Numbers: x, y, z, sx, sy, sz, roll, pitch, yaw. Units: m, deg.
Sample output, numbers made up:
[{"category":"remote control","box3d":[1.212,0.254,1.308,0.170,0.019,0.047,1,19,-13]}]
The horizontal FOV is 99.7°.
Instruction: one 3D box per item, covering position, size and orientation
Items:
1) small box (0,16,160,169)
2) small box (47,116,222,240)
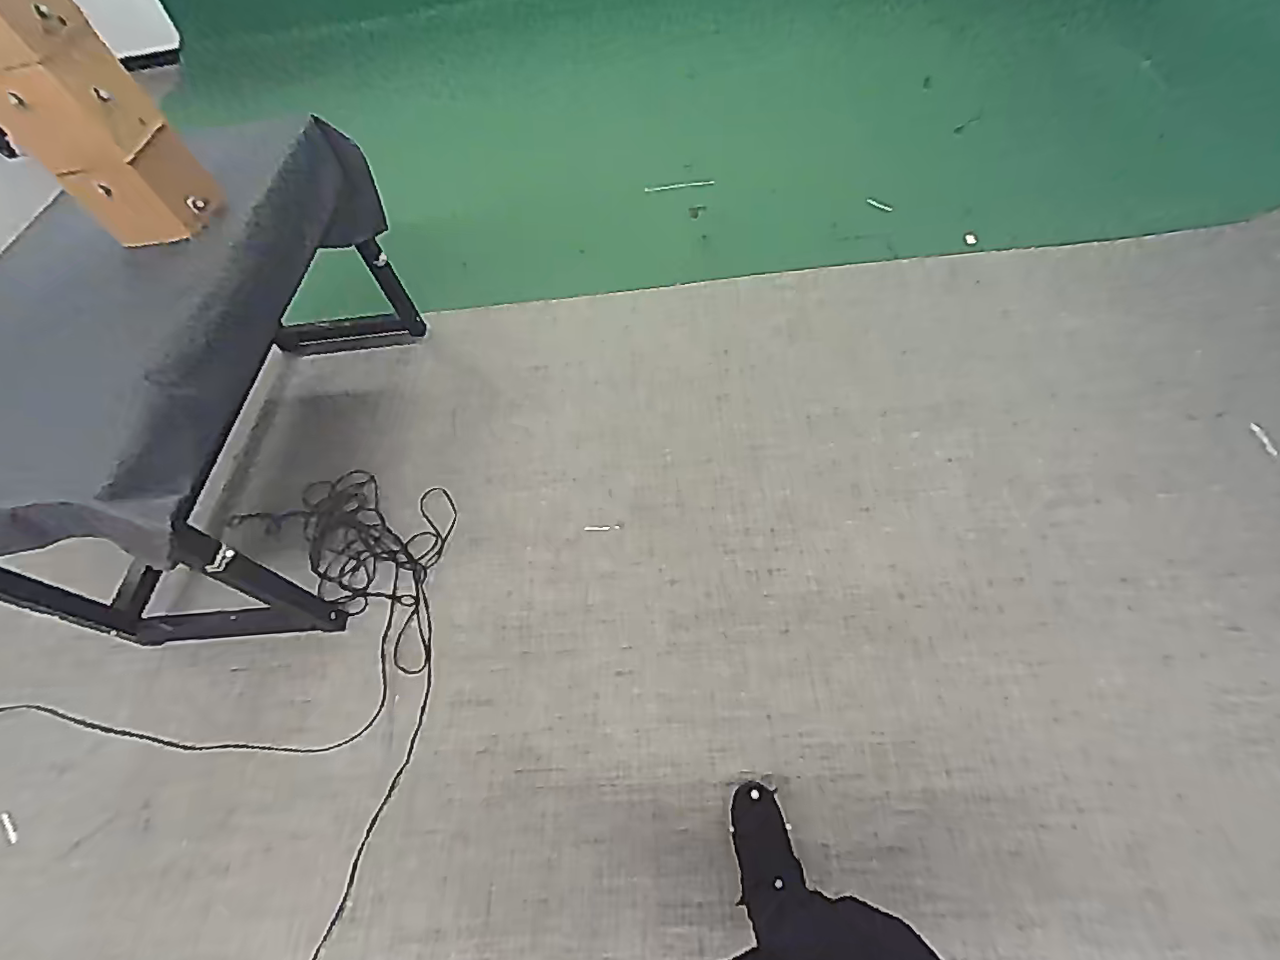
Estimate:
[{"category":"small box","box3d":[-1.069,-0.715,1.009,0.179,0.176,0.168,-6,59,6]},{"category":"small box","box3d":[-1.057,-0.634,1.149,0.179,0.176,0.168,-4,59,5]}]
